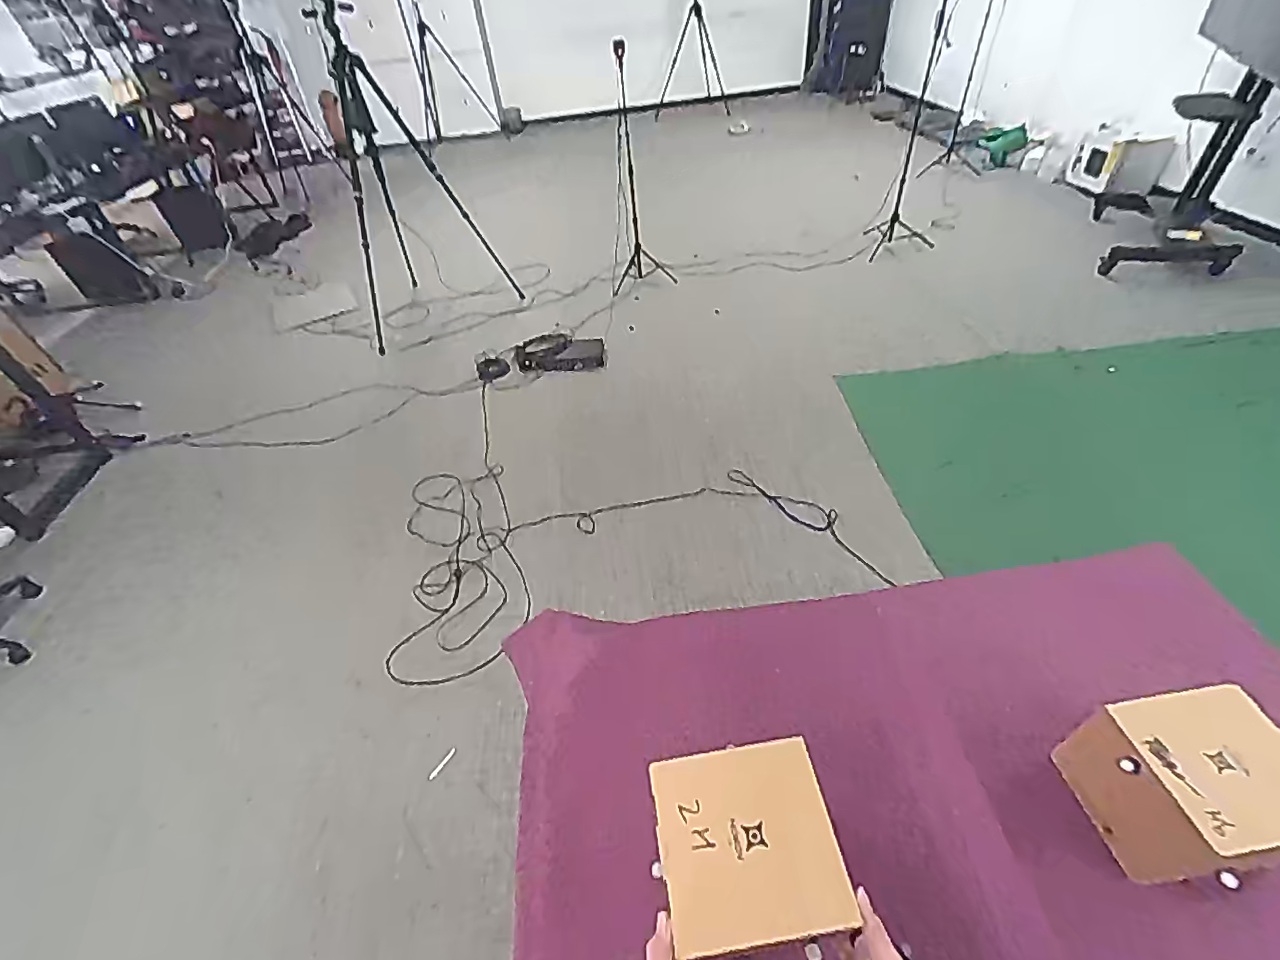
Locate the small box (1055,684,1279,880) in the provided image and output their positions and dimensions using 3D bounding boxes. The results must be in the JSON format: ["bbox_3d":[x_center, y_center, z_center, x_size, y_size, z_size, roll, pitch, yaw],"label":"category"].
[{"bbox_3d":[0.689,0.383,0.685,0.179,0.176,0.168,-9,43,-1],"label":"small box"}]

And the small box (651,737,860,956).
[{"bbox_3d":[0.113,0.407,0.599,0.179,0.176,0.168,-10,47,0],"label":"small box"}]
